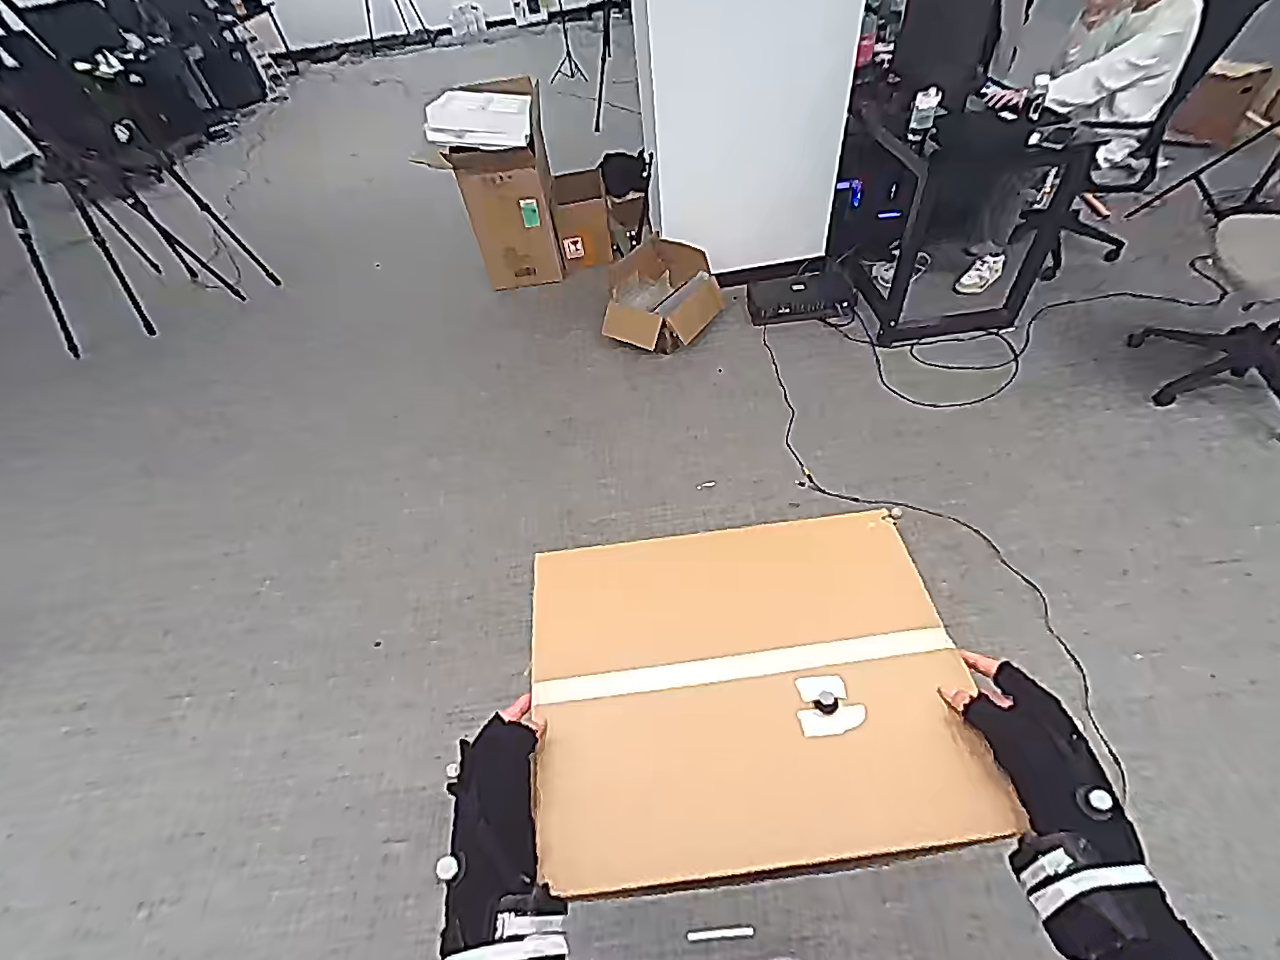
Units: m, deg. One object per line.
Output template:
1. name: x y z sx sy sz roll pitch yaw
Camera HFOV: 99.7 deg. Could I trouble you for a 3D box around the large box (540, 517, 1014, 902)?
1. large box: 0.107 0.280 0.648 0.408 0.320 0.320 -7 51 -1
